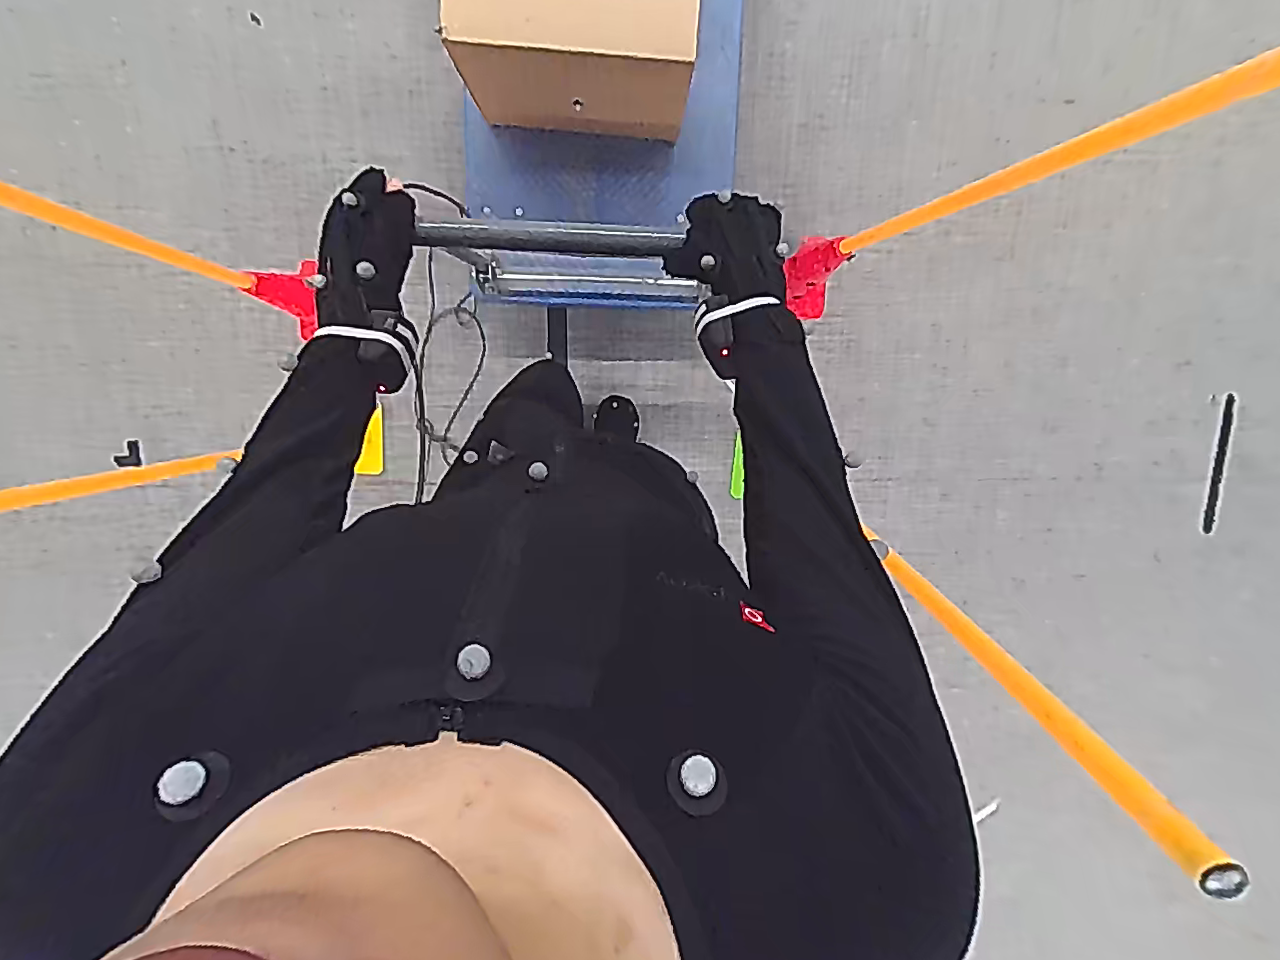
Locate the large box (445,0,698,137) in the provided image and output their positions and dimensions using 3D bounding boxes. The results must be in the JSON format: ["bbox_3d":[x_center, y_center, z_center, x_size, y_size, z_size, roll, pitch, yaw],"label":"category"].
[{"bbox_3d":[-0.105,-0.856,0.979,0.408,0.320,0.320,3,101,-2],"label":"large box"}]

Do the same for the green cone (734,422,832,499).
[{"bbox_3d":[0.365,-0.019,1.293,0.202,0.368,0.200,4,100,-3],"label":"green cone"}]

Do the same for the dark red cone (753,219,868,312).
[{"bbox_3d":[0.390,-0.493,1.187,0.201,0.394,0.202,0,101,-3],"label":"dark red cone"}]

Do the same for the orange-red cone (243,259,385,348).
[{"bbox_3d":[-0.741,-0.415,1.194,0.198,0.360,0.199,8,99,-4],"label":"orange-red cone"}]
